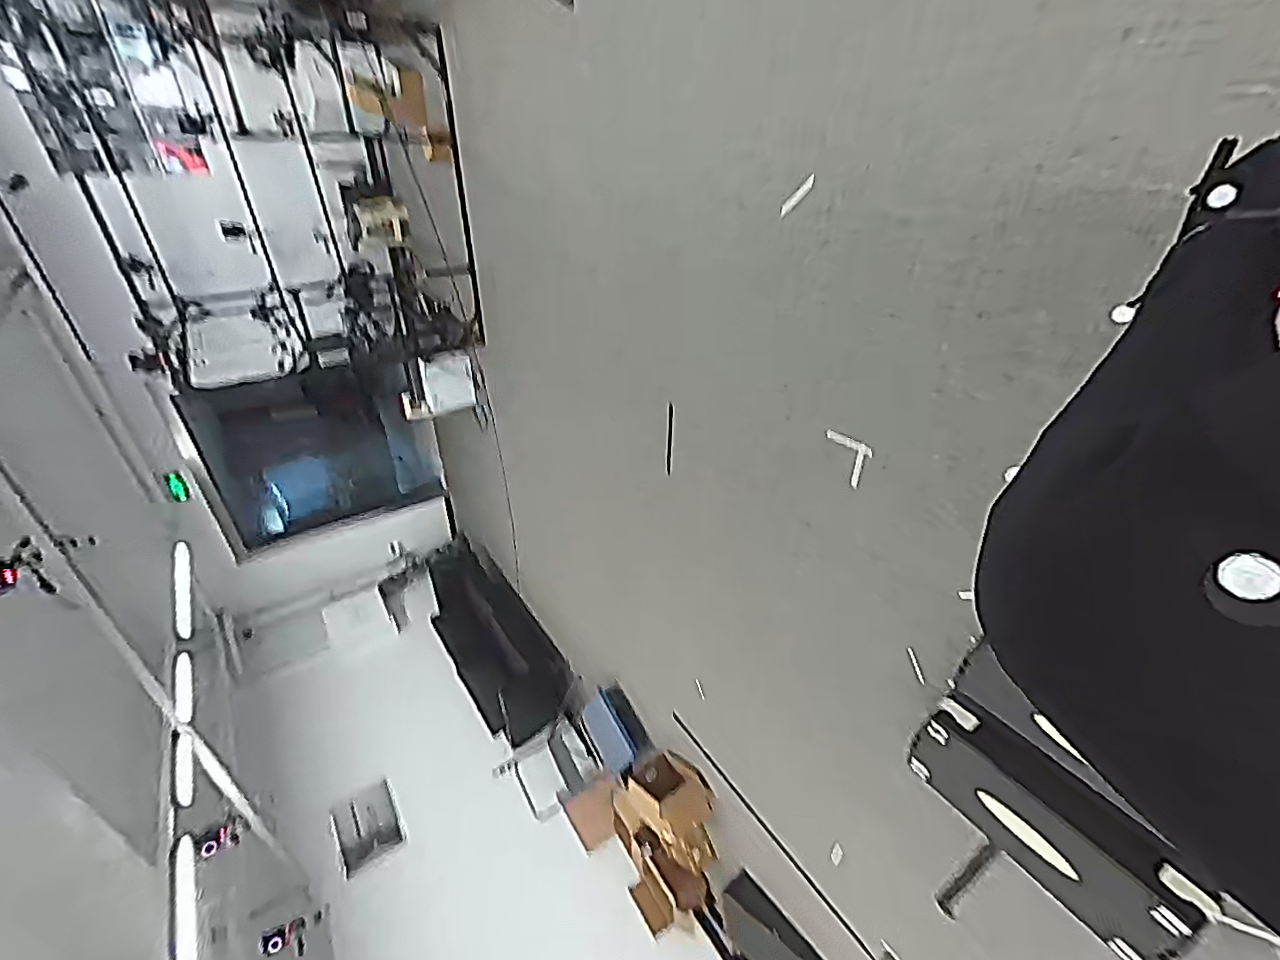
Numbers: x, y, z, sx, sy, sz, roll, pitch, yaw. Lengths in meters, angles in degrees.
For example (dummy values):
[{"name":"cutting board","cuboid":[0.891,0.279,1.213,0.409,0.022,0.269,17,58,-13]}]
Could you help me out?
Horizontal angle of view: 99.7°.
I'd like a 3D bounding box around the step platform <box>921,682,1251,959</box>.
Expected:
[{"name":"step platform","cuboid":[1.149,0.907,1.486,0.684,0.204,0.286,39,138,44]}]
